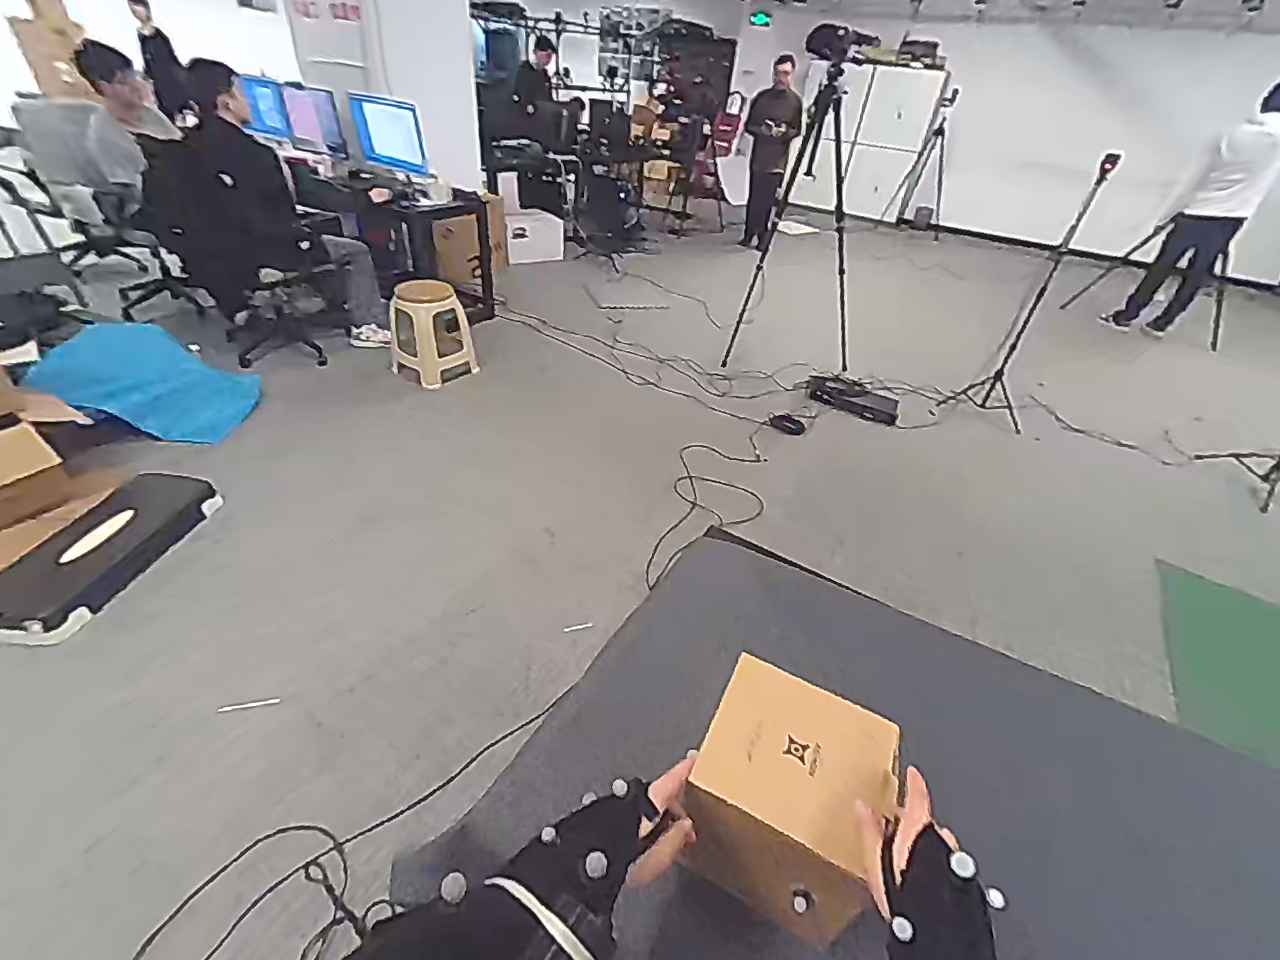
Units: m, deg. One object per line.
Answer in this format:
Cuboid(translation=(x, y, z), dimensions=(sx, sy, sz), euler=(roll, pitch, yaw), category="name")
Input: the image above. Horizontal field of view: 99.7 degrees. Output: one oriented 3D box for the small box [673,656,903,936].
Cuboid(translation=(0.151, 0.330, 0.569), dimensions=(0.179, 0.176, 0.168), euler=(20, 36, 19), category="small box")
